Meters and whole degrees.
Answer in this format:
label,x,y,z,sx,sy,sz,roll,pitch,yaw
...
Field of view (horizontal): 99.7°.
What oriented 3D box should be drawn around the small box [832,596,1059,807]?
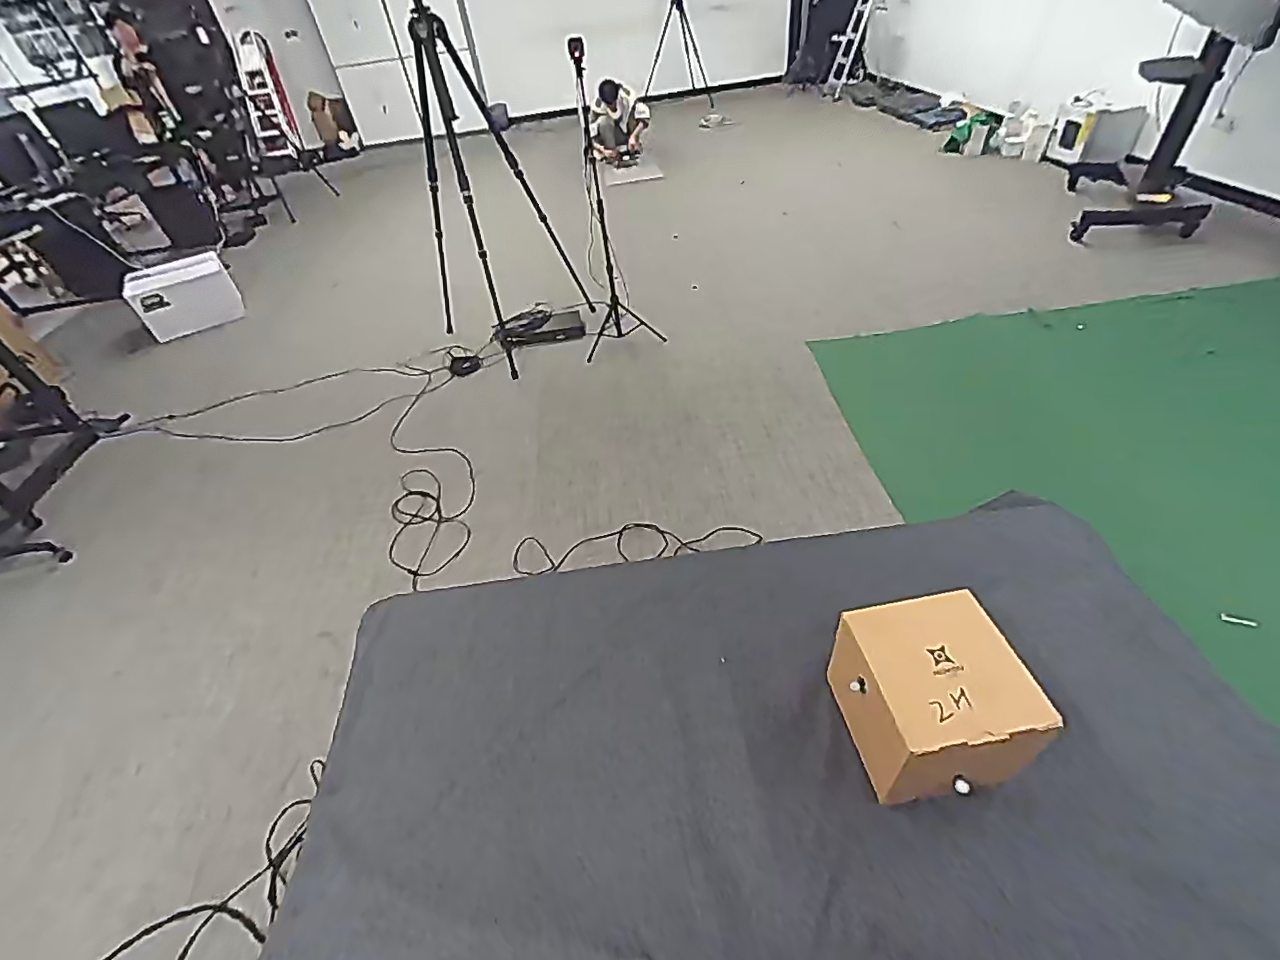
label,x,y,z,sx,sy,sz,roll,pitch,yaw
small box,0.356,0.276,0.677,0.168,0.176,0.179,-10,43,-1
